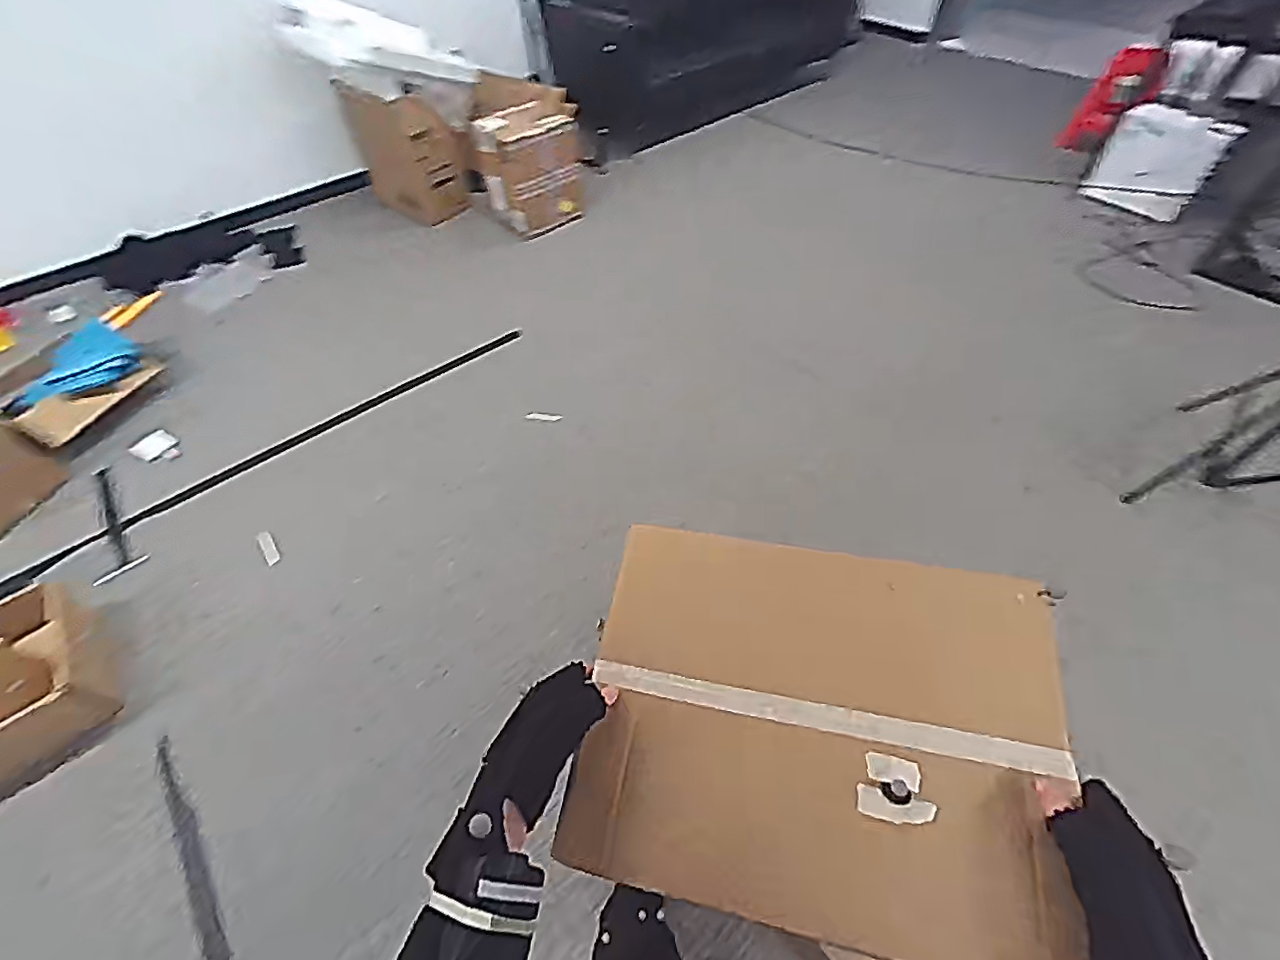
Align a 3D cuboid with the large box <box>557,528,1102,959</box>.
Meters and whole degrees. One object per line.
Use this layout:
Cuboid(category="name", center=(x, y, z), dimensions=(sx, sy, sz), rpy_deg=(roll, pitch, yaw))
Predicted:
Cuboid(category="large box", center=(0.166, 0.270, 0.600), dimensions=(0.408, 0.320, 0.320), rpy_deg=(6, 63, 12))
